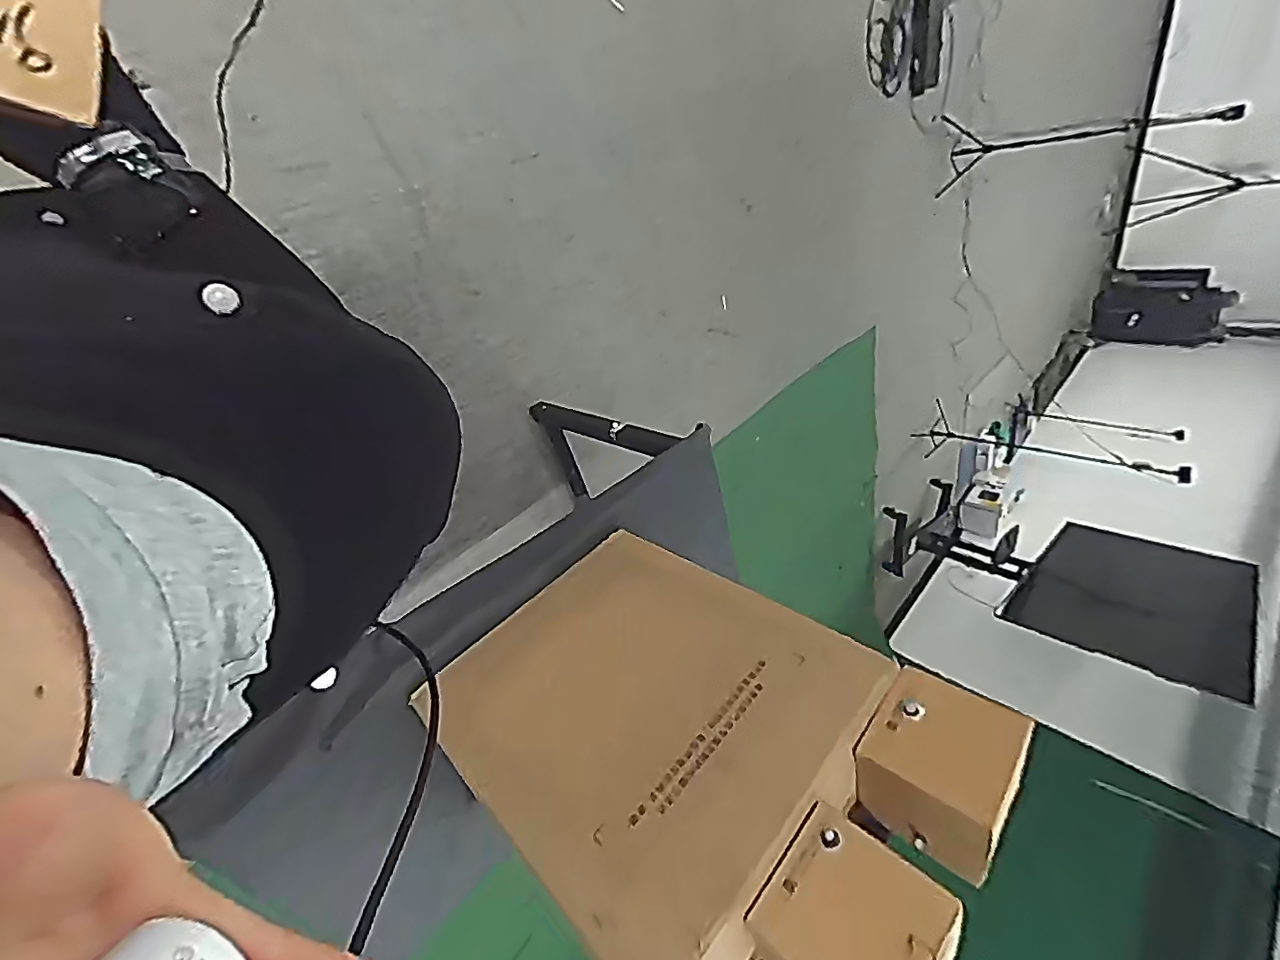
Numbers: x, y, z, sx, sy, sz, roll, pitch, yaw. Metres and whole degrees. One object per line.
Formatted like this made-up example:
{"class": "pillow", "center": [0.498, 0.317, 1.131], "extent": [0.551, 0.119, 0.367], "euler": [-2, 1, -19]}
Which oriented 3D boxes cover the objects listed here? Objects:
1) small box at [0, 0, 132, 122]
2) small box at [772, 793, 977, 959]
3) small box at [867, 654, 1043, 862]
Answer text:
{"class": "small box", "center": [-0.330, -0.262, 0.193], "extent": [0.168, 0.176, 0.179], "euler": [-19, 125, -64]}
{"class": "small box", "center": [0.275, 0.517, 0.645], "extent": [0.168, 0.176, 0.179], "euler": [-41, 130, -27]}
{"class": "small box", "center": [0.441, 0.382, 0.770], "extent": [0.168, 0.176, 0.179], "euler": [-43, 129, -30]}
